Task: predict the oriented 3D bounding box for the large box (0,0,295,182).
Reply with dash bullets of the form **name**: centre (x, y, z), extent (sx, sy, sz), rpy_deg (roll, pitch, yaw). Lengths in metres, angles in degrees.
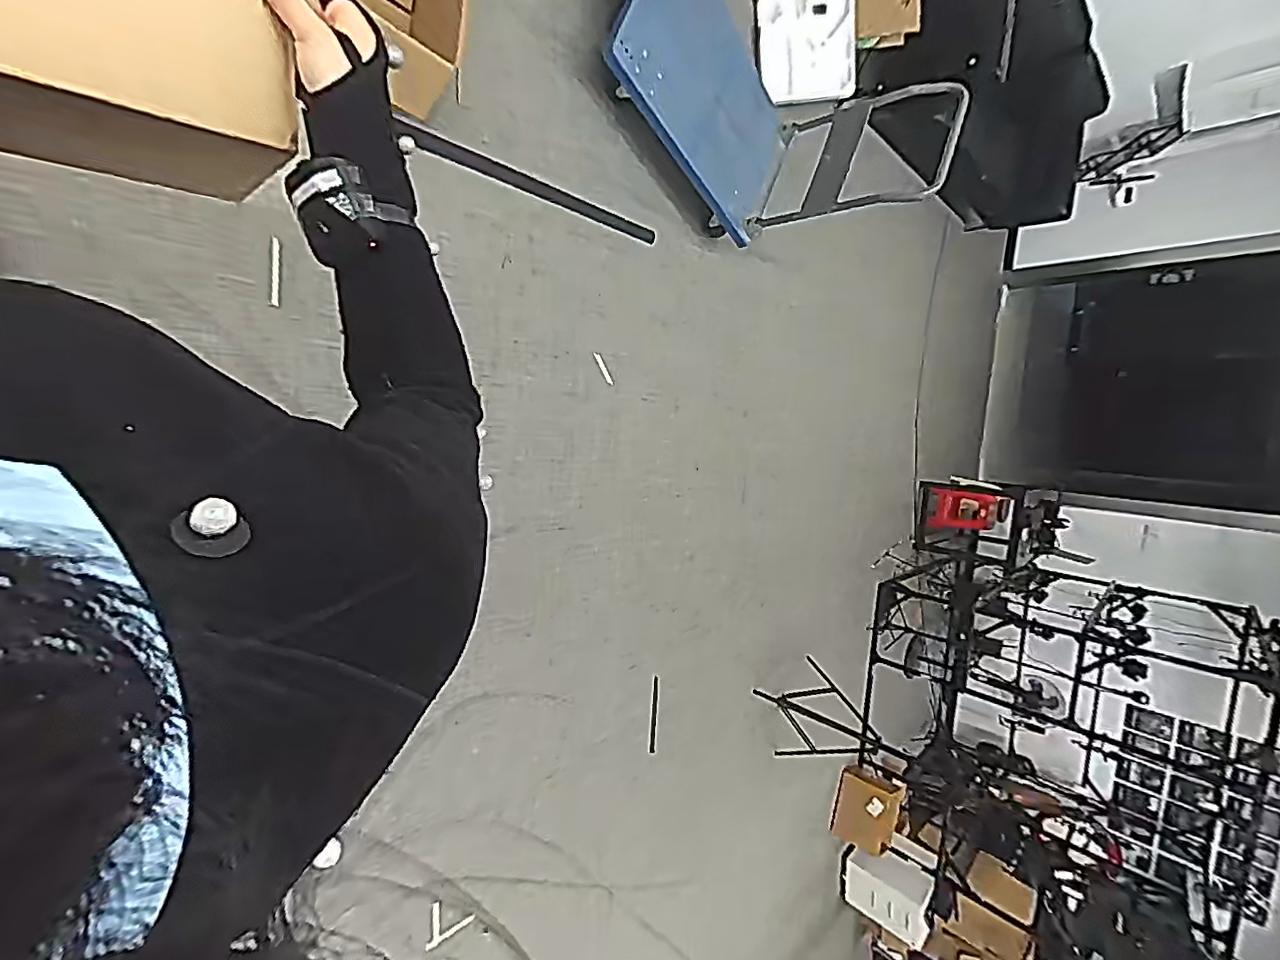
- **large box**: centre (-0.508, -0.437, 0.370), extent (0.408, 0.320, 0.320), rpy_deg (-7, 108, -42)
